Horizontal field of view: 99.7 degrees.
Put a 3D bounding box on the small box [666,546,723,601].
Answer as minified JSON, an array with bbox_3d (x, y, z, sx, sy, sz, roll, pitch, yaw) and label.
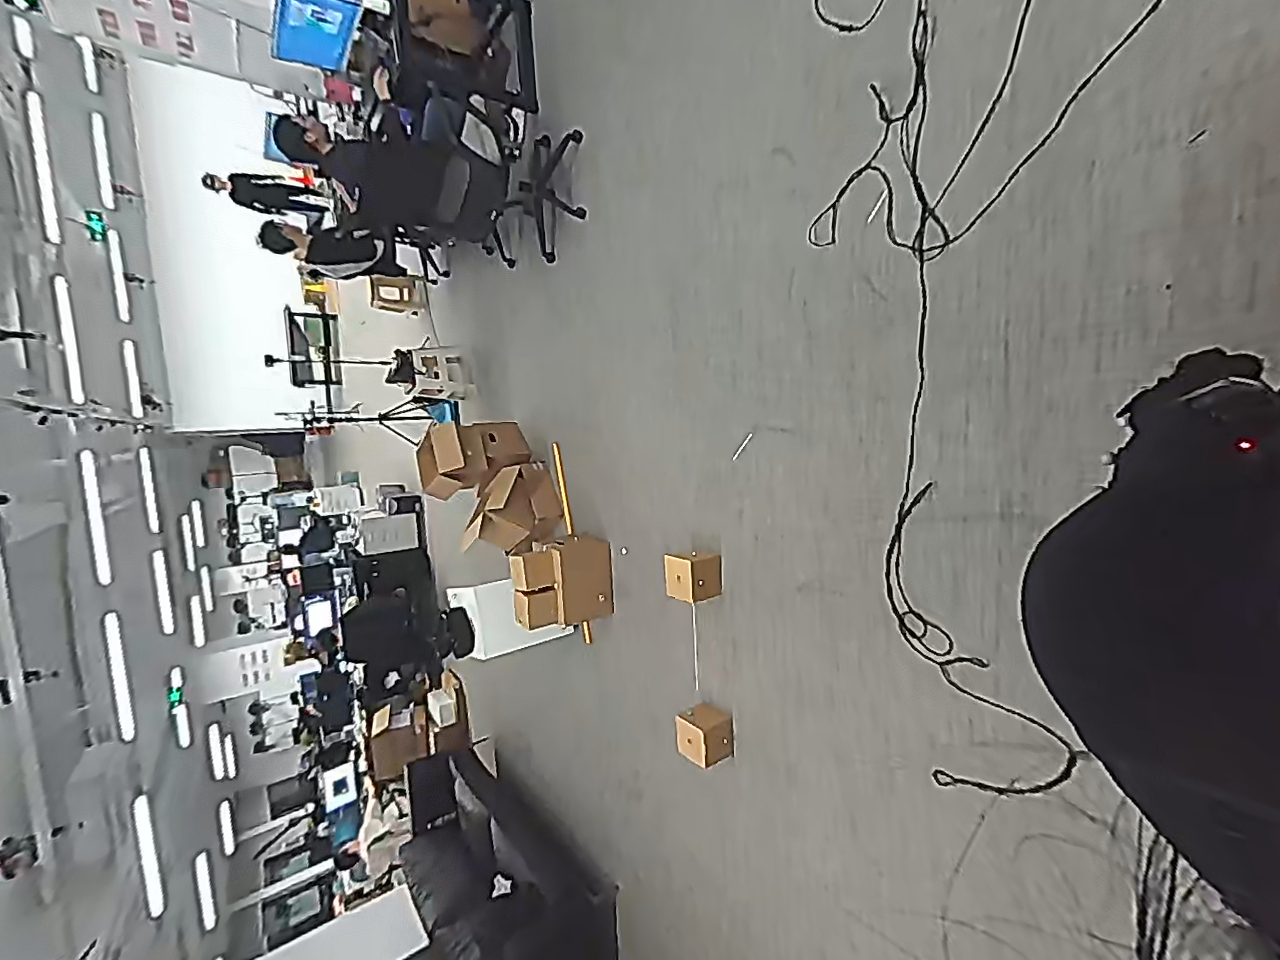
[{"bbox_3d":[0.228,0.379,2.232,0.168,0.176,0.179,3,100,53],"label":"small box"}]

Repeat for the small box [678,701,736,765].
[{"bbox_3d":[0.284,1.061,2.284,0.179,0.176,0.168,3,99,54],"label":"small box"}]
